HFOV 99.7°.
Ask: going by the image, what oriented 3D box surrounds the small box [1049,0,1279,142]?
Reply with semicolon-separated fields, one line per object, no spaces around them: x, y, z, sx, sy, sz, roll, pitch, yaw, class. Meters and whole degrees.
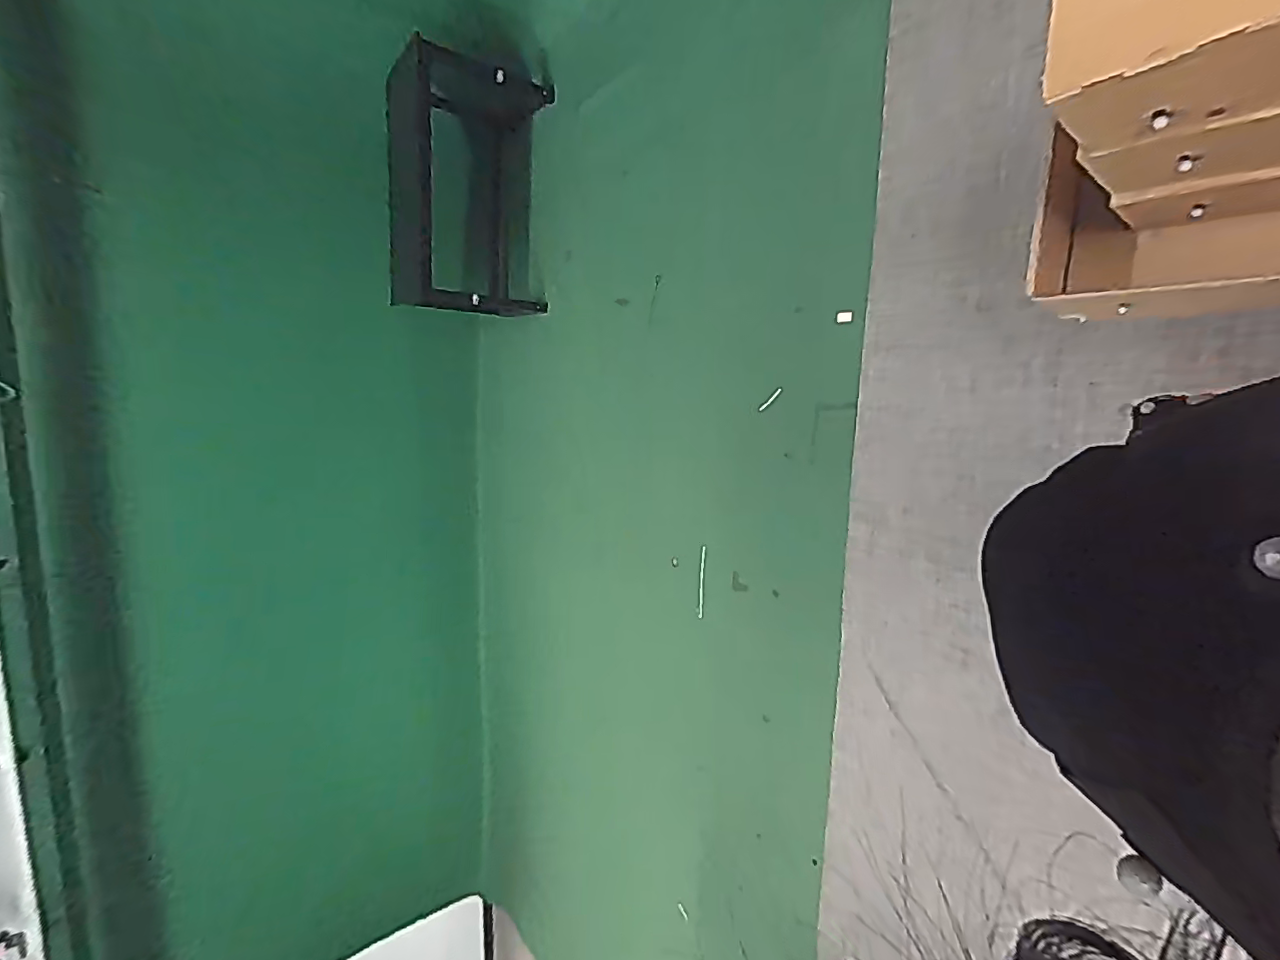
0.508;-0.452;0.495;0.168;0.176;0.179;10;102;52;small box
